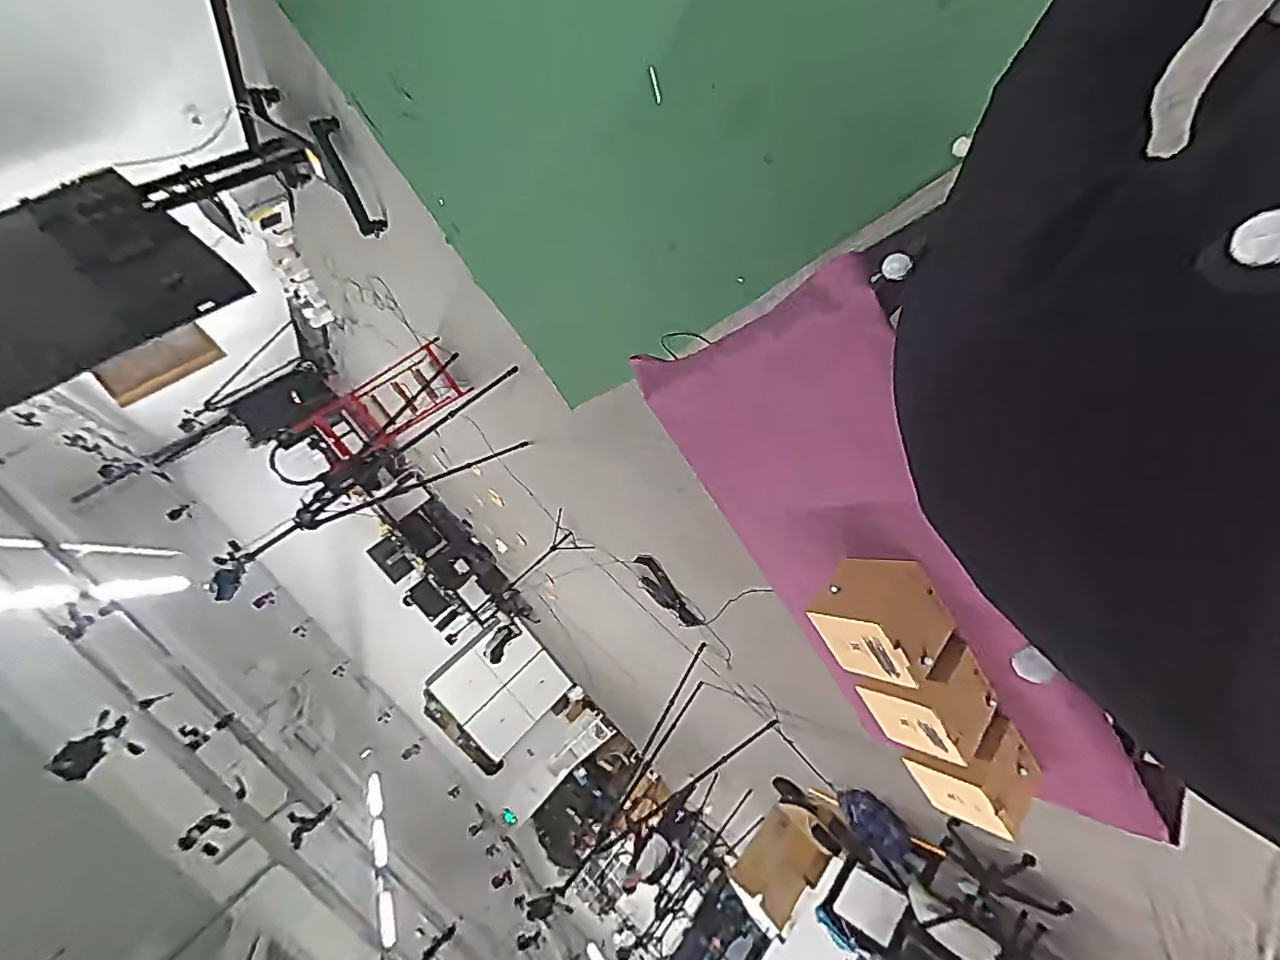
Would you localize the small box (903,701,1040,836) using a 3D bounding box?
[{"bbox_3d":[0.722,0.613,1.177,0.168,0.176,0.179,55,153,-13],"label":"small box"}]
